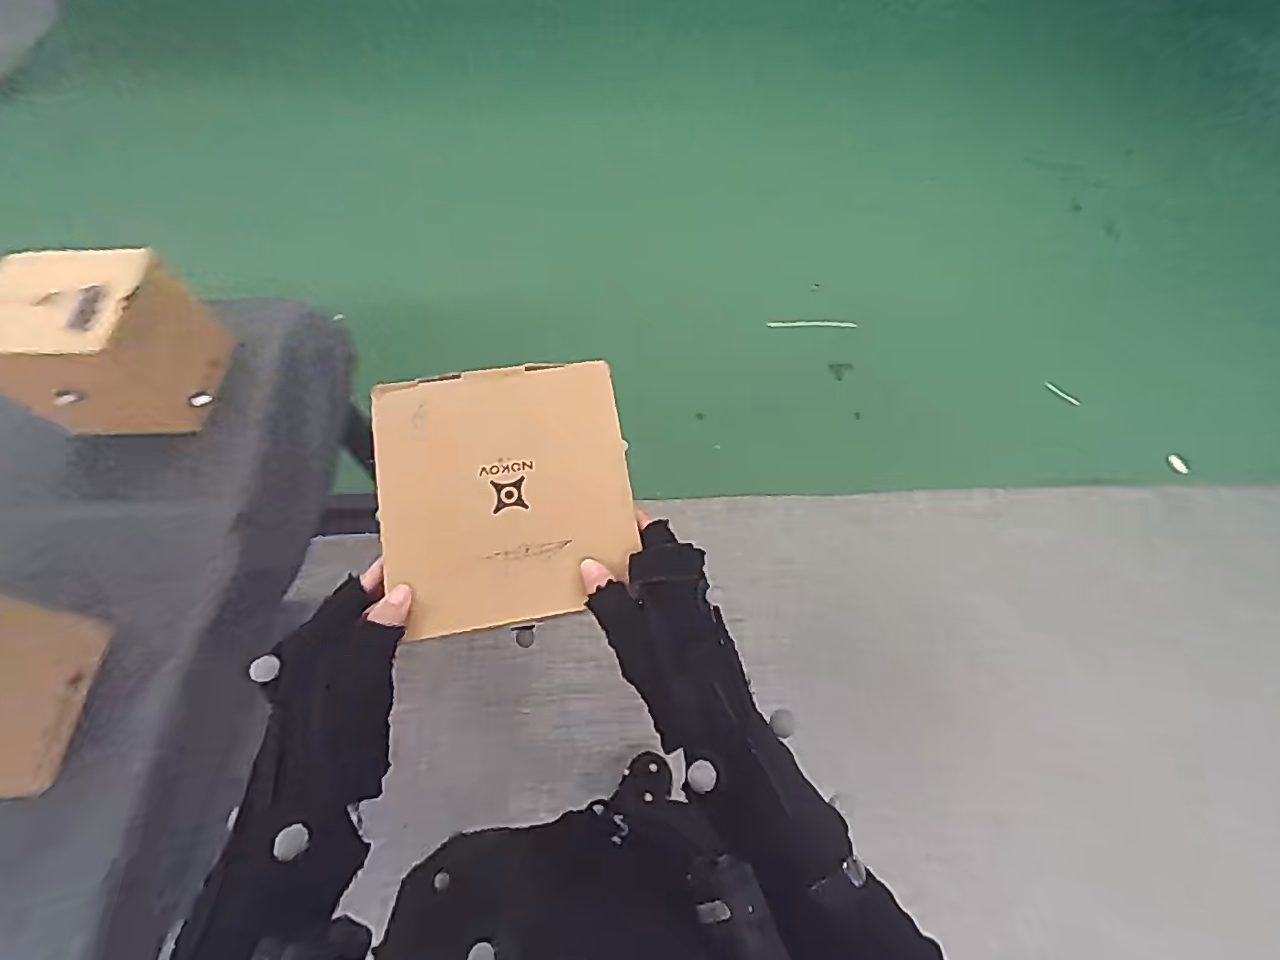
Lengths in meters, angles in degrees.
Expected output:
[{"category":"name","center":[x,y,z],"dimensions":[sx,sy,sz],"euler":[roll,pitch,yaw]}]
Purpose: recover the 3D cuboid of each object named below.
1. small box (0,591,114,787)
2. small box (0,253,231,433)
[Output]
[{"category":"small box","center":[-0.685,0.205,0.516],"dimensions":[0.179,0.176,0.168],"euler":[-3,63,-3]},{"category":"small box","center":[-0.696,-0.174,0.713],"dimensions":[0.179,0.176,0.168],"euler":[-2,63,-1]}]
